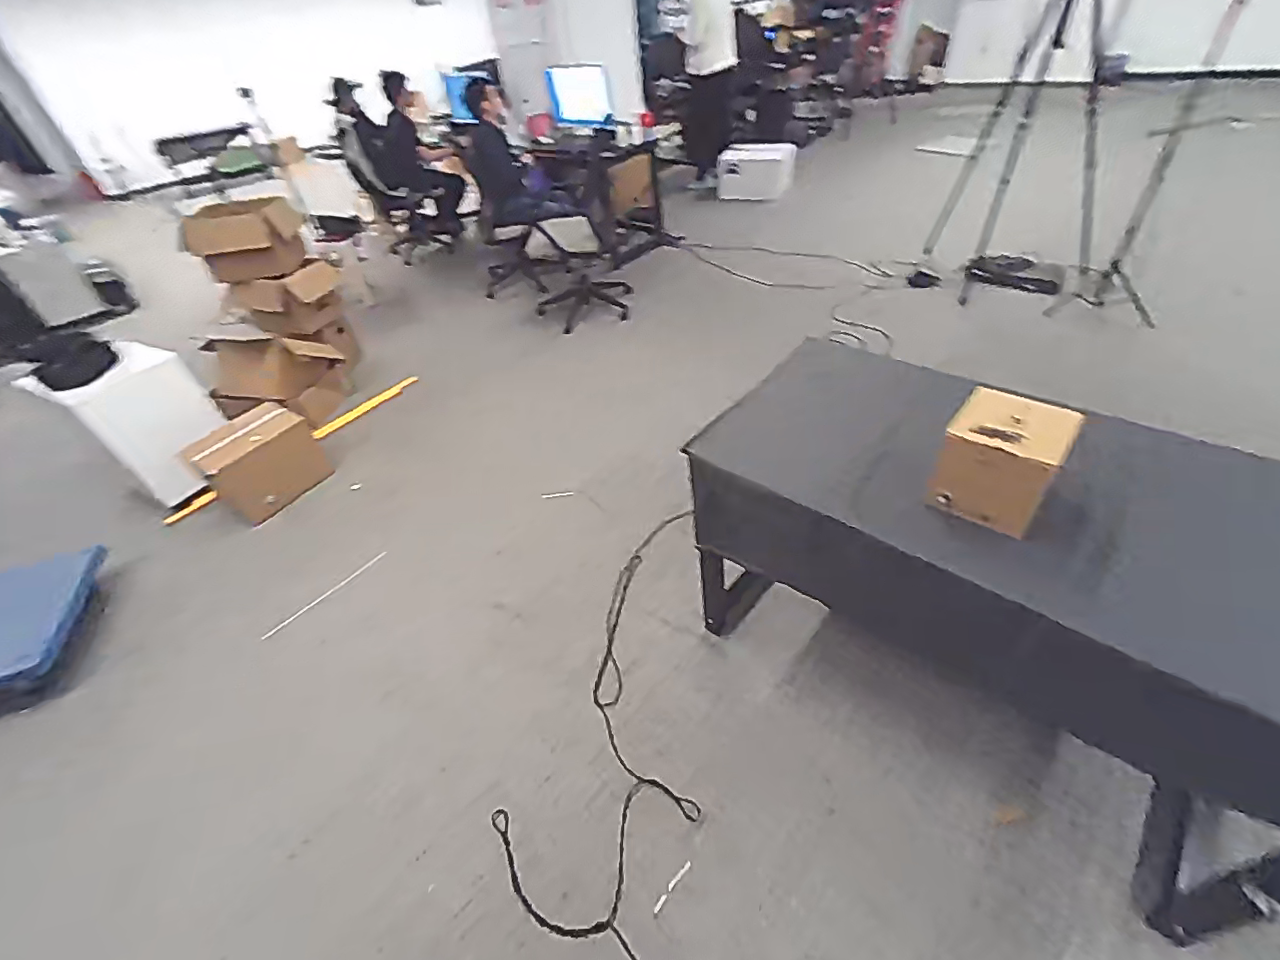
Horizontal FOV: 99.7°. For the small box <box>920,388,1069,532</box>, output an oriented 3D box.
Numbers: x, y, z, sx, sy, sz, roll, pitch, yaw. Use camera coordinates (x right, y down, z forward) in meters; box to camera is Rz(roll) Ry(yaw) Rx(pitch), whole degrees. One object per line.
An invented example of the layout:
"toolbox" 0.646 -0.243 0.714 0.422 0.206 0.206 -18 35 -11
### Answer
"small box" 0.633 -0.035 0.982 0.168 0.176 0.179 27 51 33
